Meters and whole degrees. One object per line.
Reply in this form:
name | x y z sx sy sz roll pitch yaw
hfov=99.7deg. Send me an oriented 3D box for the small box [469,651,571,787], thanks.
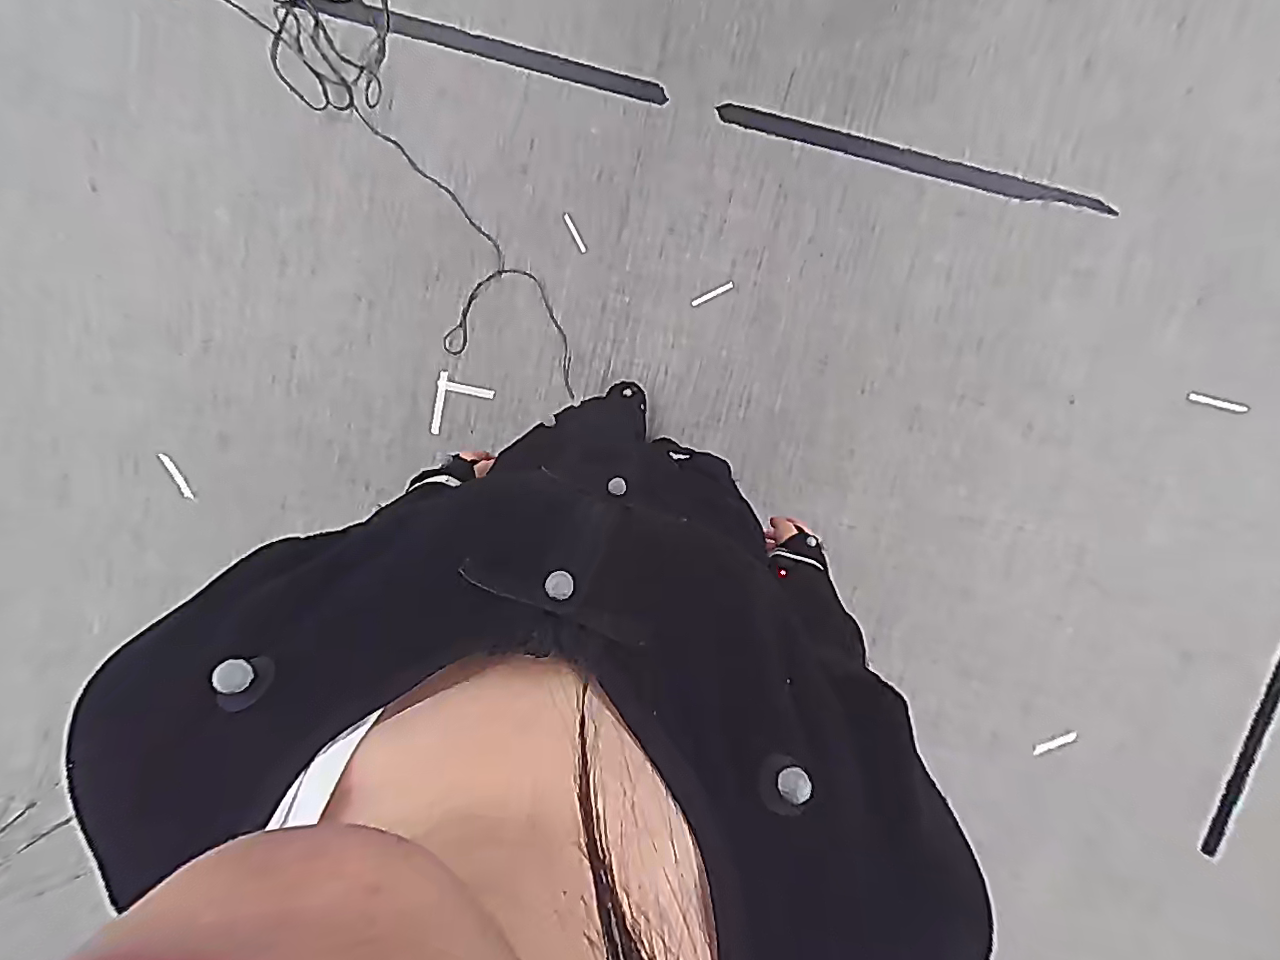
small box | -0.233 0.440 0.987 0.168 0.176 0.179 19 96 0
